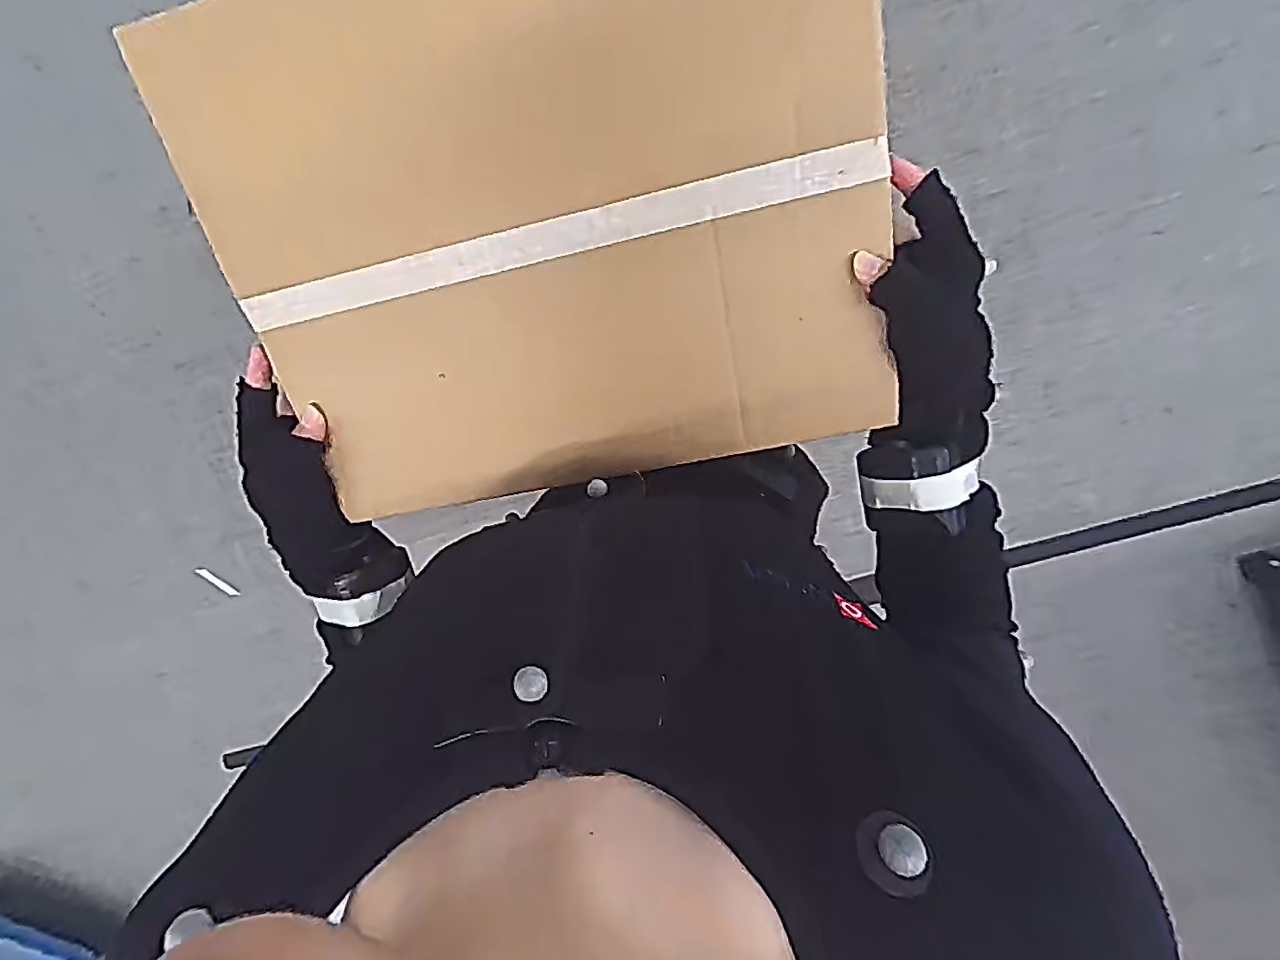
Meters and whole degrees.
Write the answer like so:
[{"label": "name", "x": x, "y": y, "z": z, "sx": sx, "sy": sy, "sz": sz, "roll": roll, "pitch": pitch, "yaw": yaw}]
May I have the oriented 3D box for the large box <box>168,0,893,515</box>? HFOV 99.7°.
[{"label": "large box", "x": -0.046, "y": -0.202, "z": 0.478, "sx": 0.408, "sy": 0.320, "sz": 0.320, "roll": -10, "pitch": 112, "yaw": 8}]
